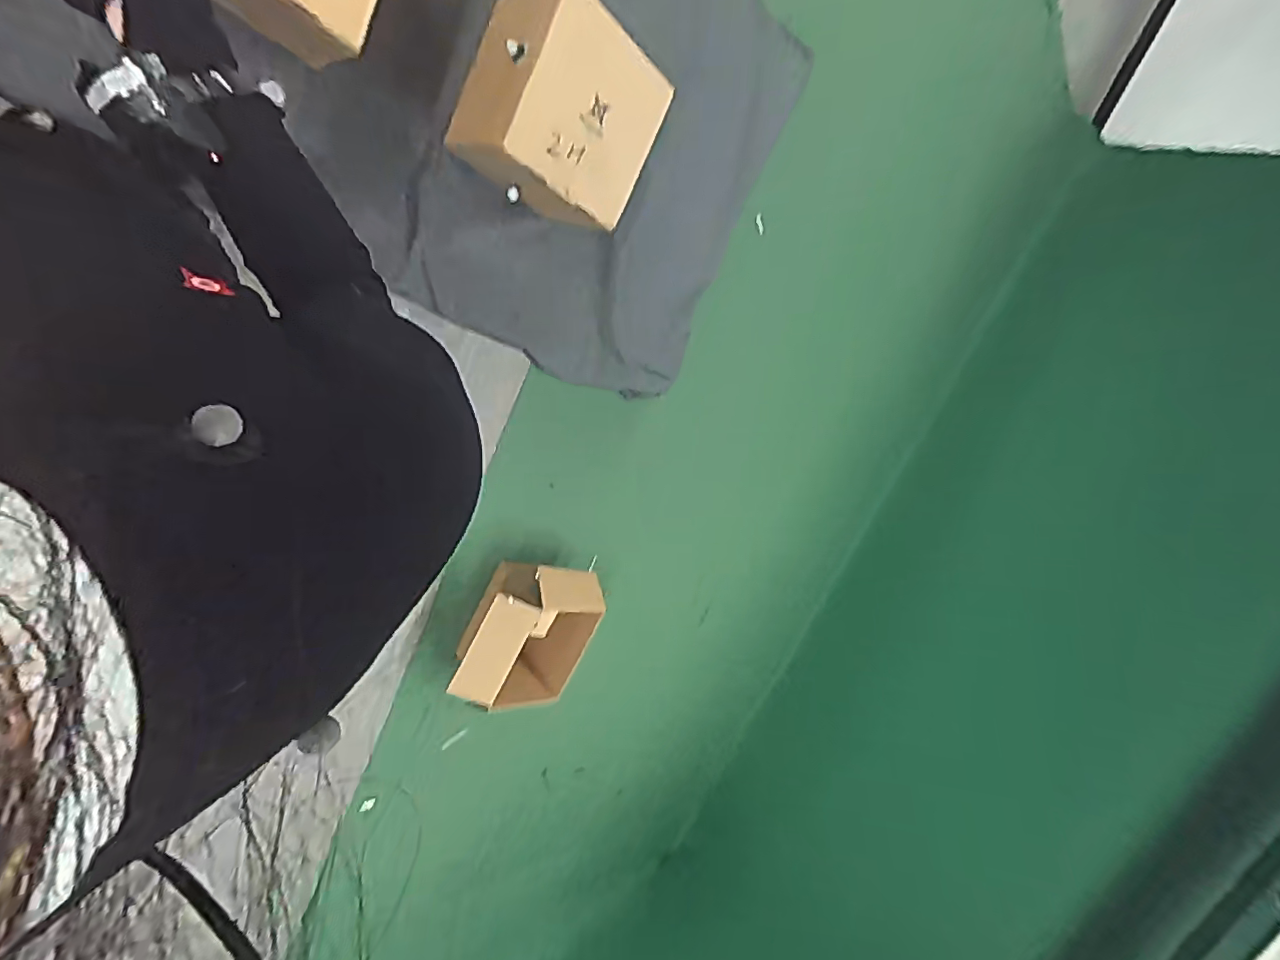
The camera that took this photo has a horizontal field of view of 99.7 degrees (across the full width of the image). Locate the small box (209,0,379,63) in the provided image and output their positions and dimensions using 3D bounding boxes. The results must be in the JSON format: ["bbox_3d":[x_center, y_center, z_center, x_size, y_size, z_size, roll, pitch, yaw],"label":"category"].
[{"bbox_3d":[-0.305,-0.481,0.433,0.168,0.176,0.179,14,106,-48],"label":"small box"}]

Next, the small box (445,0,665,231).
[{"bbox_3d":[-0.108,-0.435,0.652,0.168,0.176,0.179,15,105,-48],"label":"small box"}]
